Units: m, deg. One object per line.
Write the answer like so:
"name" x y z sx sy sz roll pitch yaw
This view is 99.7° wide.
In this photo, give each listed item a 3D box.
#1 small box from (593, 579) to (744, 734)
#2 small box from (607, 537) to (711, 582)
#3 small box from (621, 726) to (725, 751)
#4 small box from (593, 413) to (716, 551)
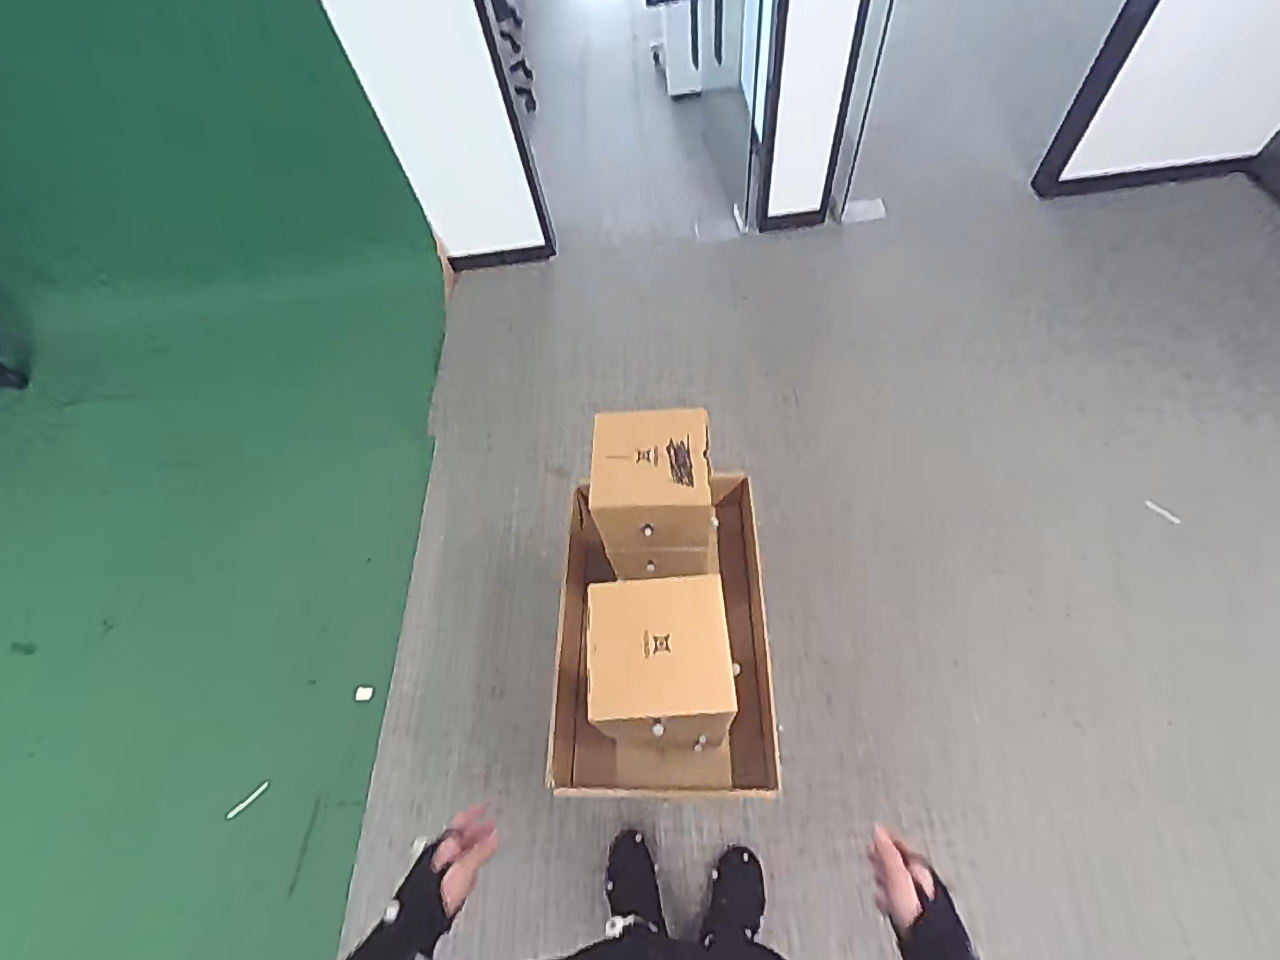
"small box" 0.035 0.243 0.728 0.179 0.176 0.168 -5 60 3
"small box" 0.042 0.089 1.010 0.179 0.176 0.168 -1 62 6
"small box" 0.060 0.407 1.009 0.179 0.176 0.168 -3 59 4
"small box" 0.029 0.008 0.867 0.179 0.176 0.168 -1 61 6
